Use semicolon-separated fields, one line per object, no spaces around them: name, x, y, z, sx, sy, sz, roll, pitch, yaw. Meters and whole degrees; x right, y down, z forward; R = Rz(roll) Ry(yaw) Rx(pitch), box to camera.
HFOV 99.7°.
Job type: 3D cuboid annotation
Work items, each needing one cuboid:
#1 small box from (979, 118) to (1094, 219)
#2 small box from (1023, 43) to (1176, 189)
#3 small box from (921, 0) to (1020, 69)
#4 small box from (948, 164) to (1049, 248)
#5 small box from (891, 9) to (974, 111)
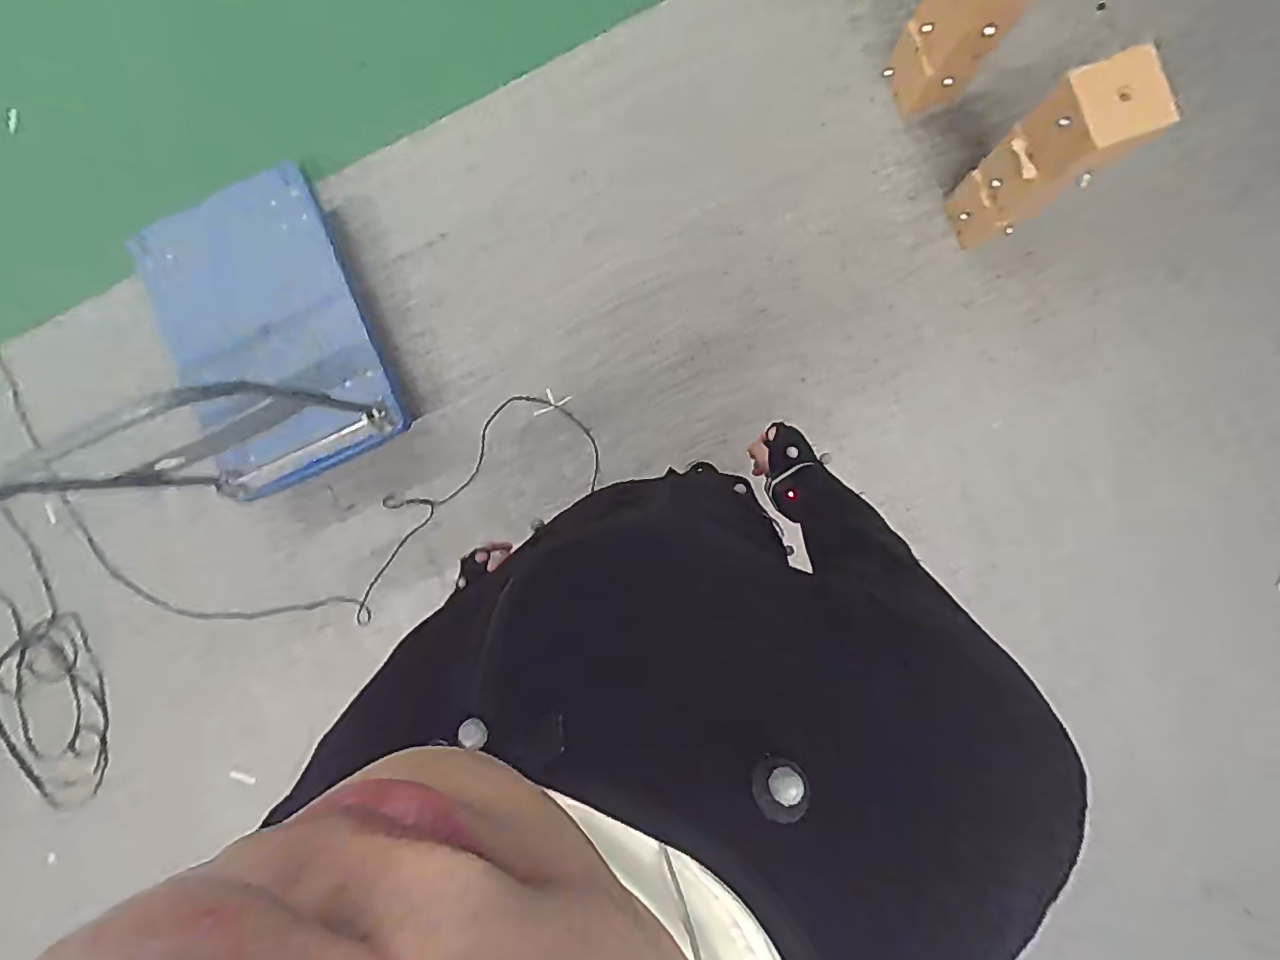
small box;0.987;-0.781;1.332;0.179;0.176;0.168;-16;88;3
small box;0.978;-0.776;1.169;0.168;0.176;0.179;-17;88;4
small box;0.834;-1.193;1.357;0.168;0.176;0.179;14;90;6
small box;0.988;-0.776;1.497;0.179;0.176;0.168;-21;88;4
small box;0.827;-1.182;1.512;0.179;0.176;0.168;-18;89;2
